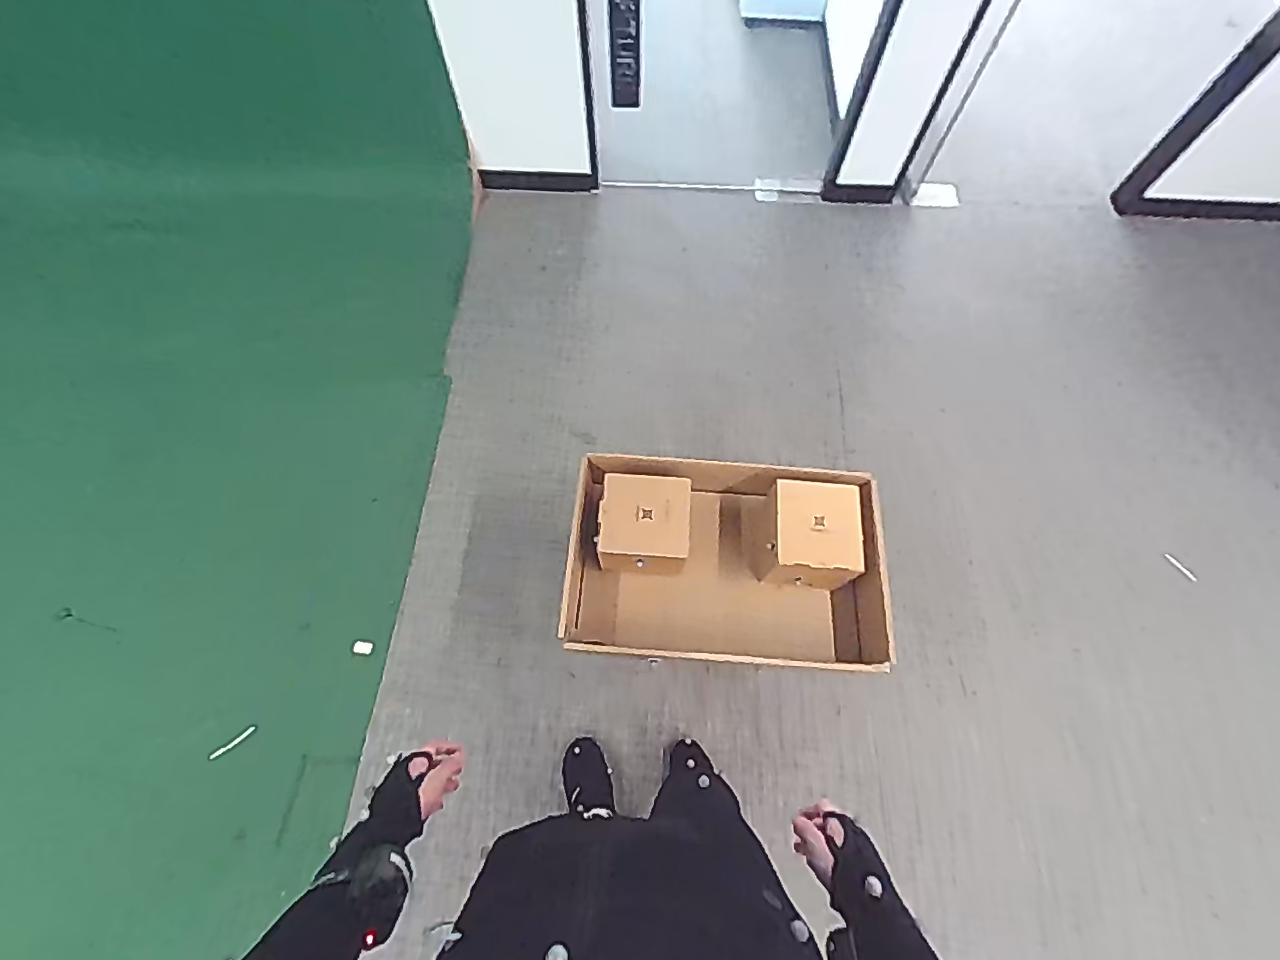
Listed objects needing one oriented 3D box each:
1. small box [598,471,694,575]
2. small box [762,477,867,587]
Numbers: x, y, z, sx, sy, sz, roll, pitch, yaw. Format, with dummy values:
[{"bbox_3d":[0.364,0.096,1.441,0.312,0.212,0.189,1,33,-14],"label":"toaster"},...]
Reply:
[{"bbox_3d":[0.014,0.095,1.124,0.179,0.176,0.168,5,68,2],"label":"small box"},{"bbox_3d":[0.351,0.112,1.119,0.168,0.176,0.179,6,68,1],"label":"small box"}]
